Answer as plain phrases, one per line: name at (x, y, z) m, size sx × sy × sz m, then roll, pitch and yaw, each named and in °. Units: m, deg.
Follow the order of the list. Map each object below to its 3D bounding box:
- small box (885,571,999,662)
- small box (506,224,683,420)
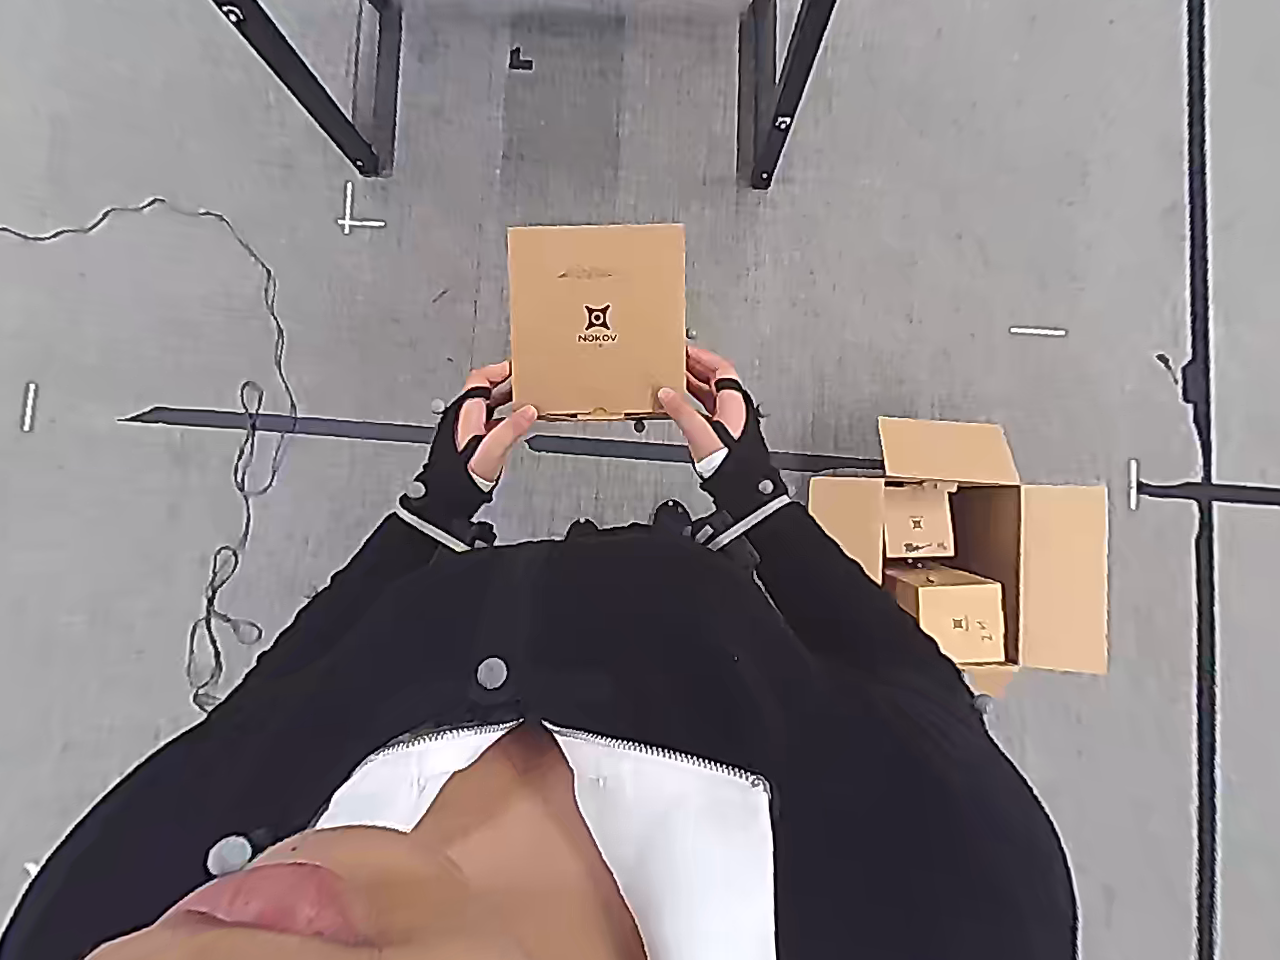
small box at (0.669, 0.303, 1.220) m, size 0.179 × 0.176 × 0.168 m, roll -3°, pitch 91°, yaw 1°
small box at (-0.040, -0.154, 0.582) m, size 0.168 × 0.176 × 0.179 m, roll -1°, pitch 94°, yaw 1°
